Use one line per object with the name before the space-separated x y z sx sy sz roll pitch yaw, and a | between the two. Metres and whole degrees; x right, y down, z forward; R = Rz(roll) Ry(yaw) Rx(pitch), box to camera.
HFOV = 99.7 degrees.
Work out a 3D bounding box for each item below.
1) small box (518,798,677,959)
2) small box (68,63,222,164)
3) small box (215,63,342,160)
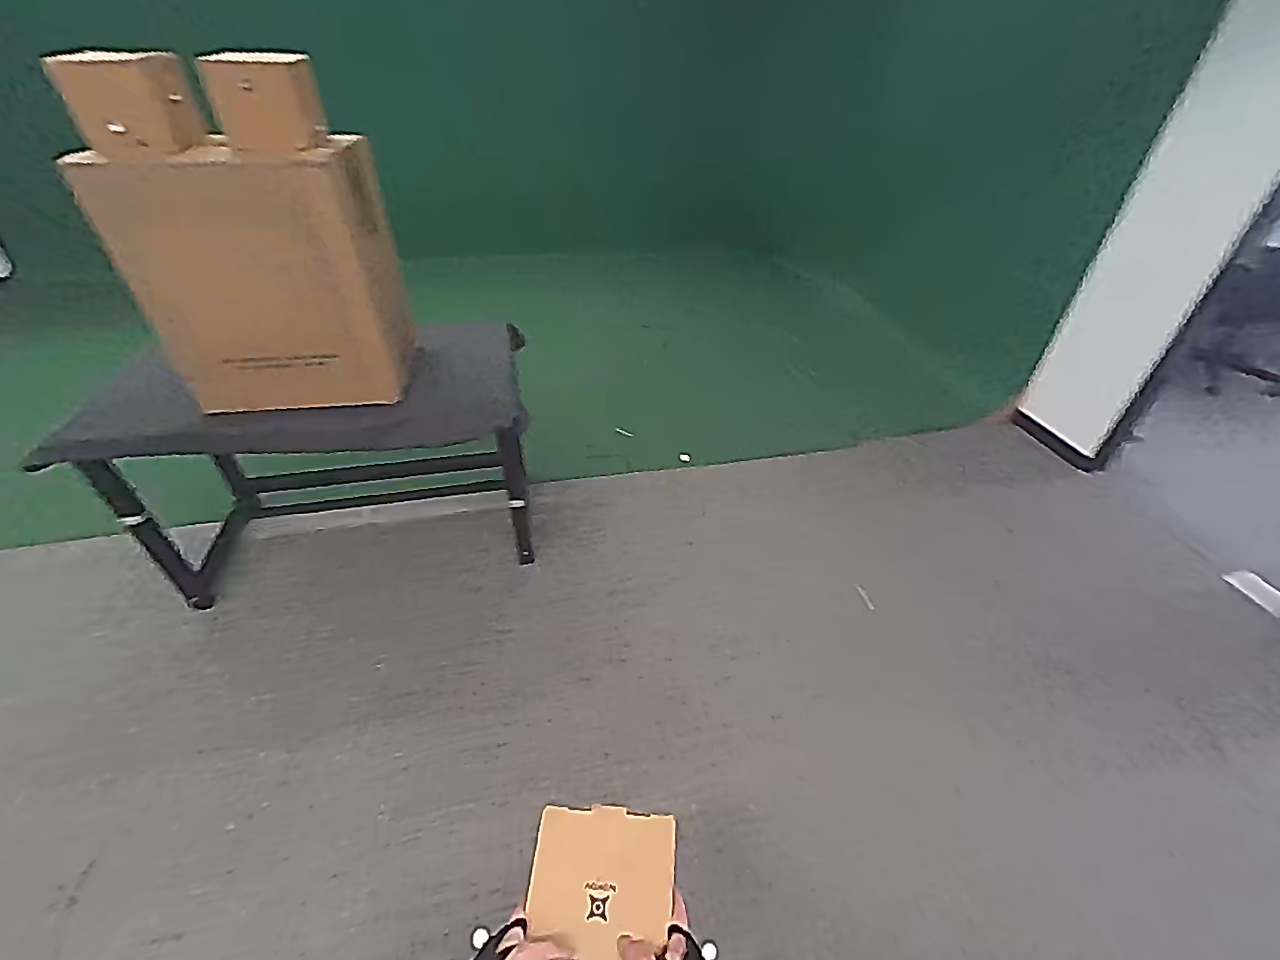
small box | -0.042 0.521 0.669 0.168 0.176 0.179 2 46 4
small box | -1.093 -0.827 1.218 0.168 0.176 0.179 -5 42 -6
small box | -0.835 -0.865 1.271 0.179 0.176 0.168 -3 42 -9
